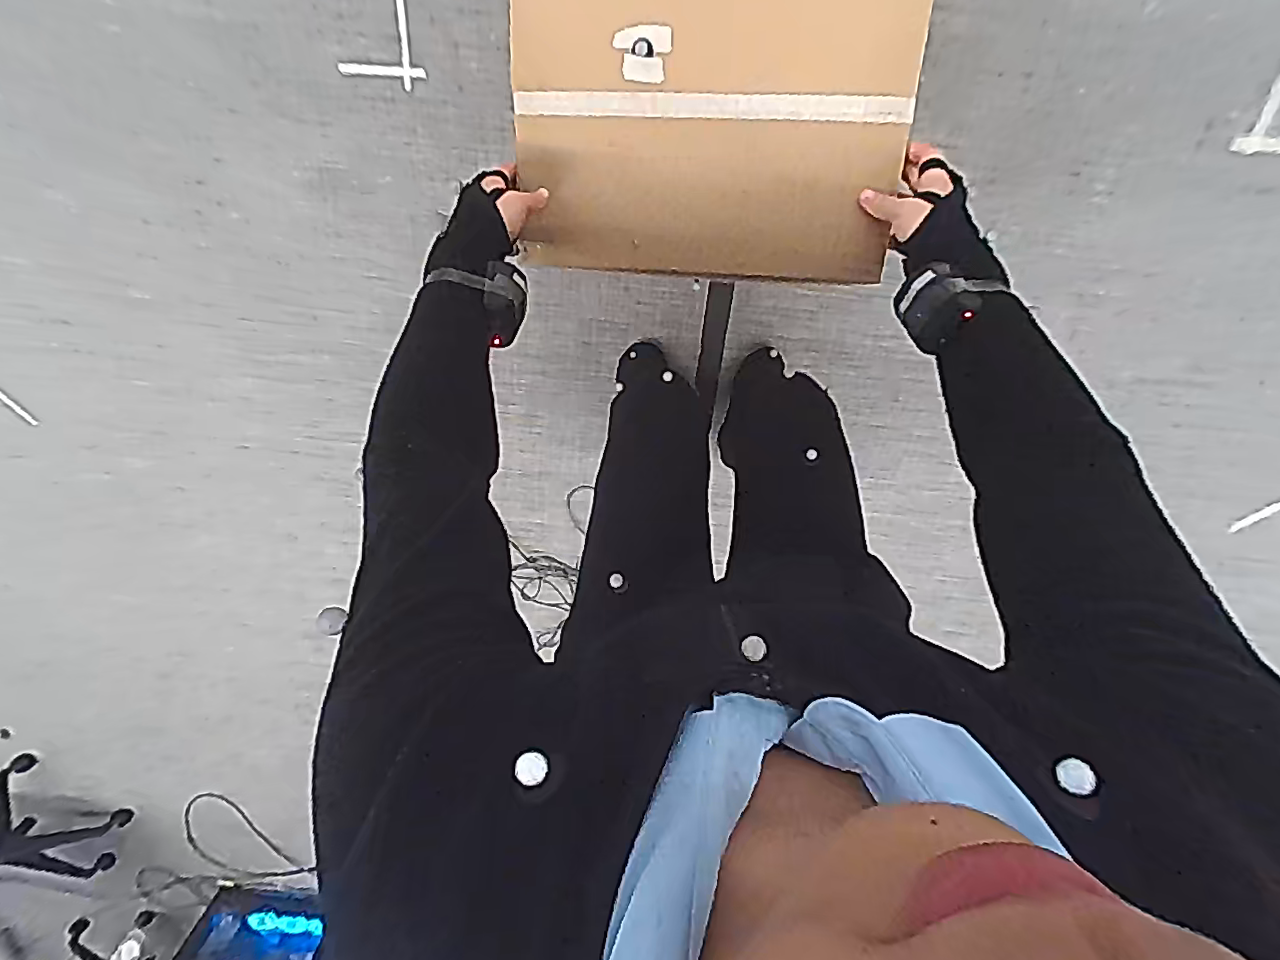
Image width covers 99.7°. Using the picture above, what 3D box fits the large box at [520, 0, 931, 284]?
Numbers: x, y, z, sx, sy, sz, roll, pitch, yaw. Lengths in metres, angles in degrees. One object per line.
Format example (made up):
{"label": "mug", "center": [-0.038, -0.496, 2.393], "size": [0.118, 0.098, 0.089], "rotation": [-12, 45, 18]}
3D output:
{"label": "large box", "center": [0.094, -0.419, 0.690], "size": [0.408, 0.320, 0.320], "rotation": [5, 108, 8]}
